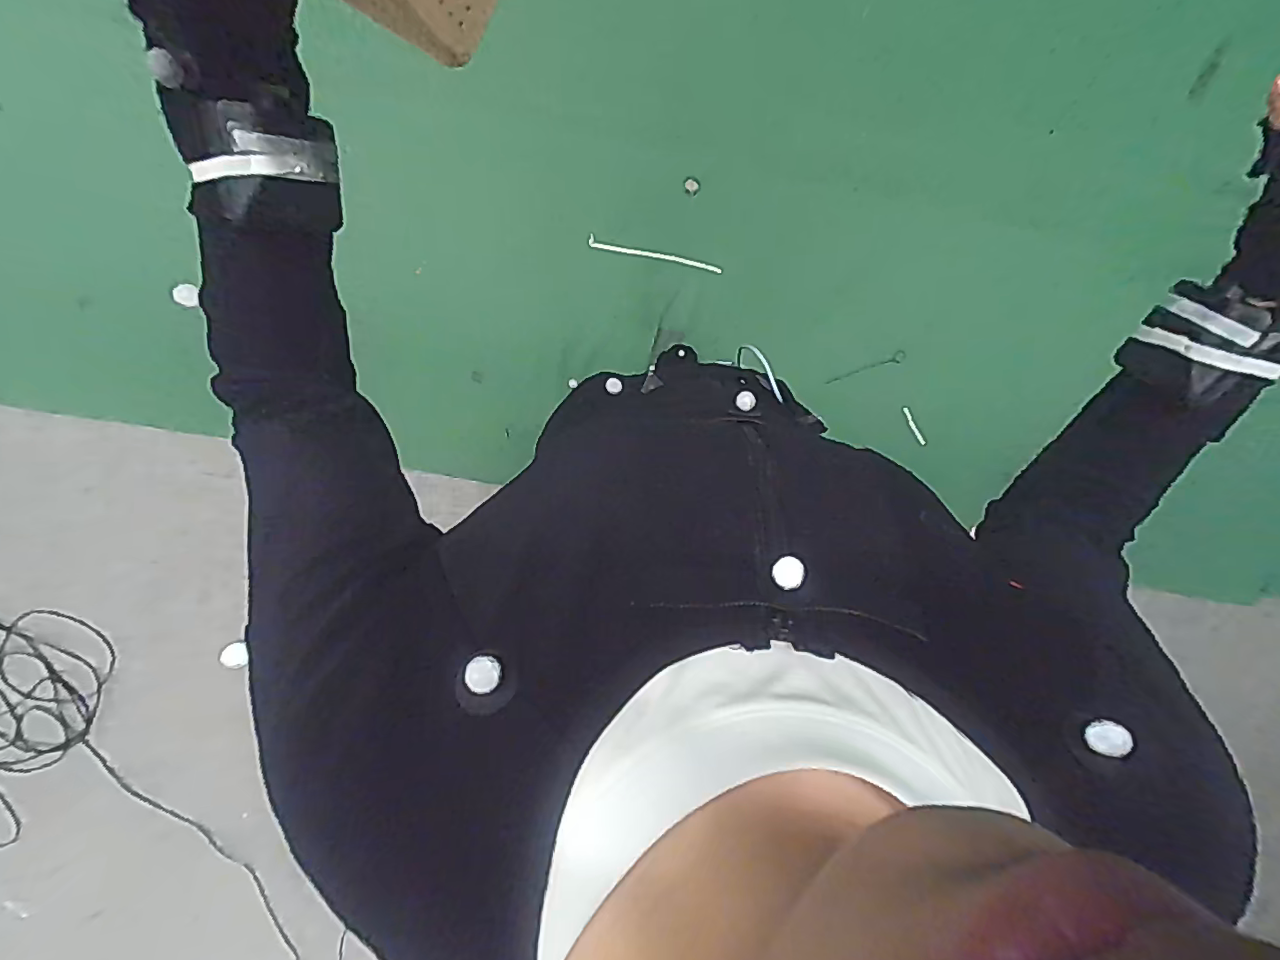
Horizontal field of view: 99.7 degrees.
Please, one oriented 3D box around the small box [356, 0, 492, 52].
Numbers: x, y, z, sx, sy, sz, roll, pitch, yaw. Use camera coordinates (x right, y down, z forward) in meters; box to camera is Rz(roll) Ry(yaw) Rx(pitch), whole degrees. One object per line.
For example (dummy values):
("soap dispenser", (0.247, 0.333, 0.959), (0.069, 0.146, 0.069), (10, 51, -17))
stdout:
("small box", (-0.105, -0.275, 0.133), (0.168, 0.176, 0.179), (37, 104, 7))
